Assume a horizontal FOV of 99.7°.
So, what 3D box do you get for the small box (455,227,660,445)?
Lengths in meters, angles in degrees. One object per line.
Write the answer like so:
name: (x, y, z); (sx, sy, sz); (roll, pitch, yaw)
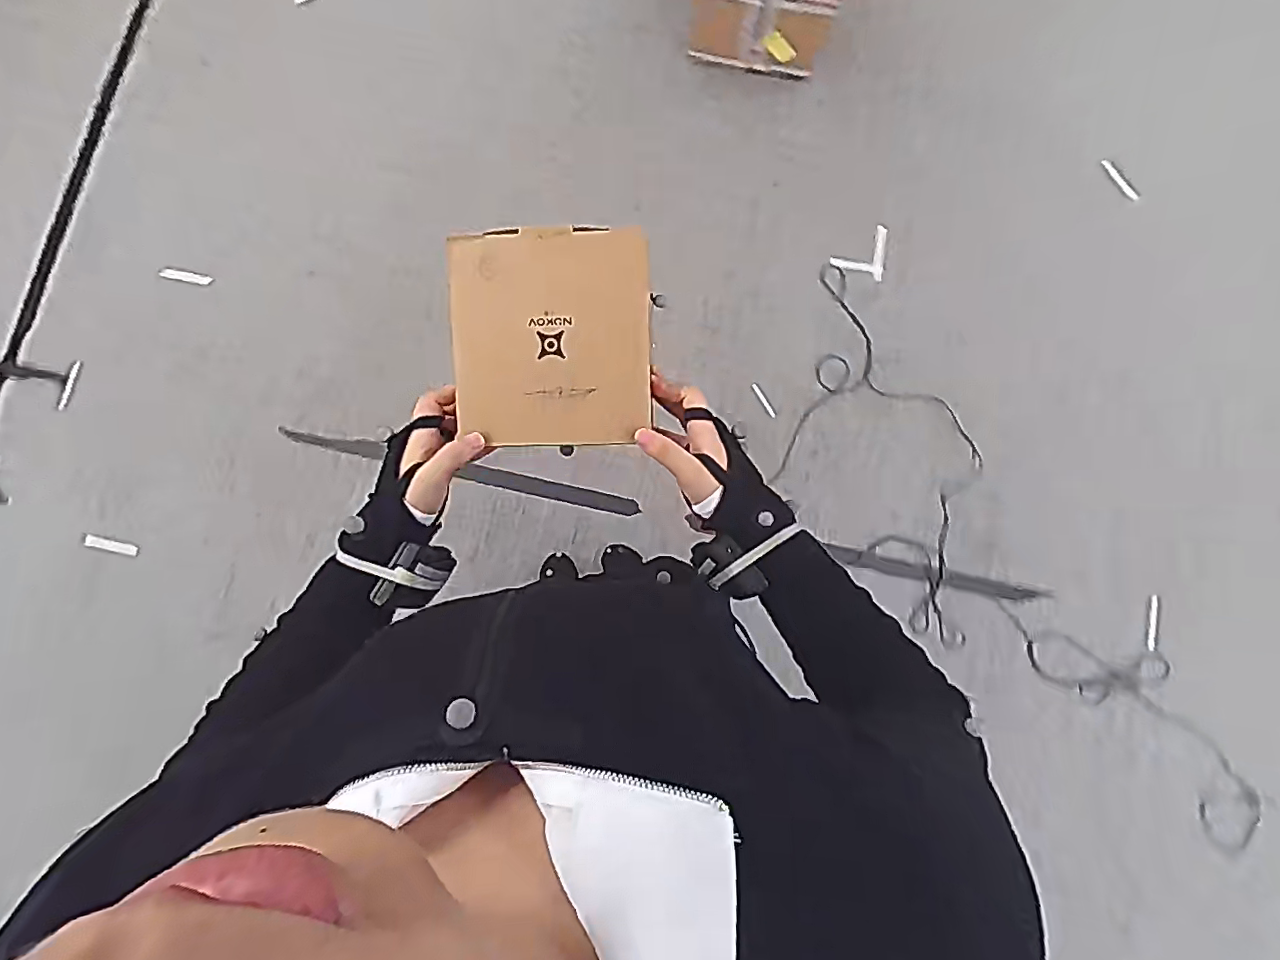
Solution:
small box: (-0.066, -0.125, 0.521); (0.168, 0.176, 0.179); (0, 98, 3)
